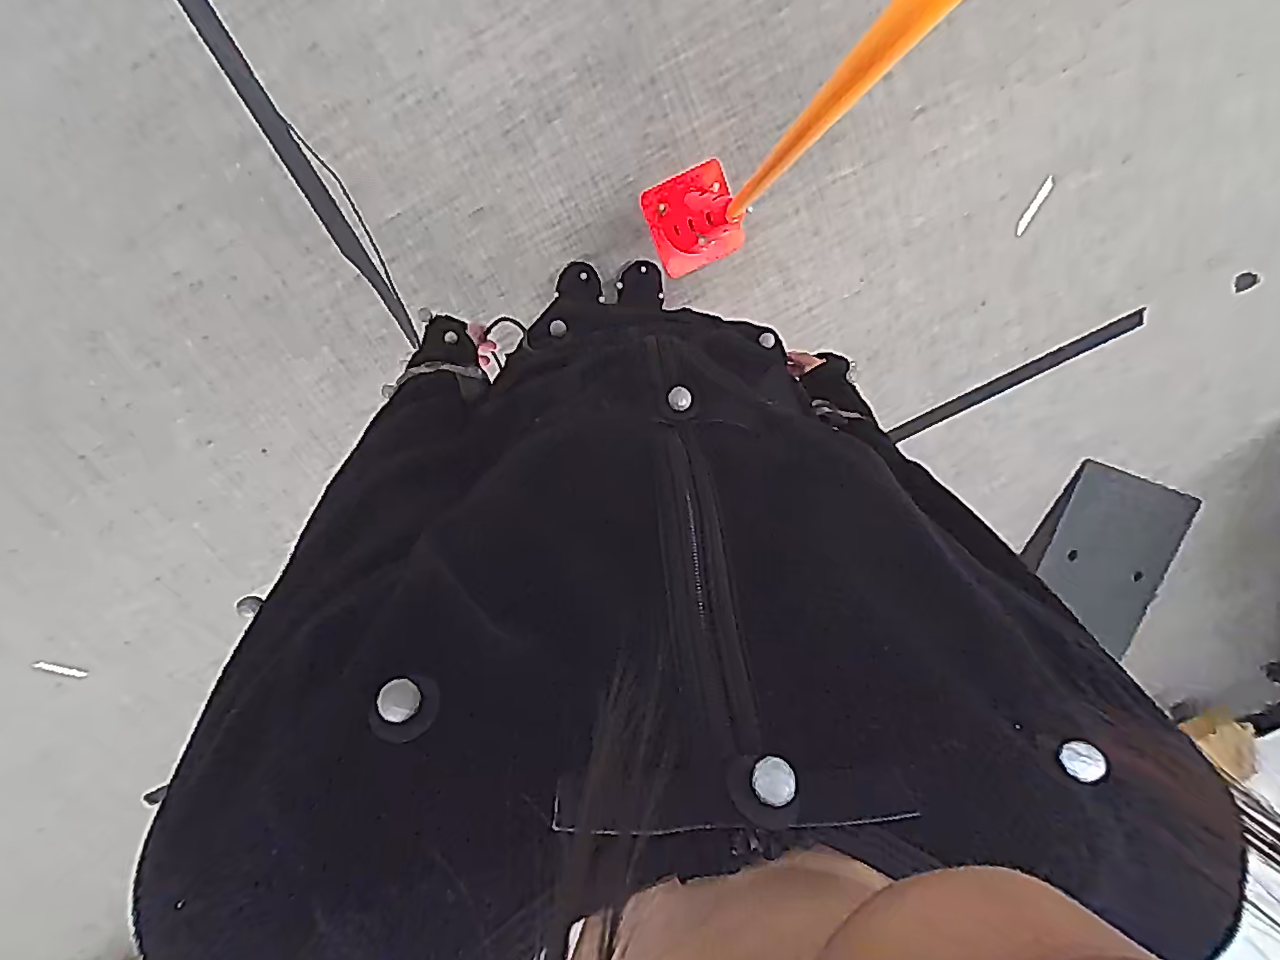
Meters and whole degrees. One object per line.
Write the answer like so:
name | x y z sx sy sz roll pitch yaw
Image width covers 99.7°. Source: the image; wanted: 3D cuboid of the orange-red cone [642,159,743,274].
orange-red cone | 0.140 -0.527 1.075 0.198 0.360 0.199 -22 115 4
